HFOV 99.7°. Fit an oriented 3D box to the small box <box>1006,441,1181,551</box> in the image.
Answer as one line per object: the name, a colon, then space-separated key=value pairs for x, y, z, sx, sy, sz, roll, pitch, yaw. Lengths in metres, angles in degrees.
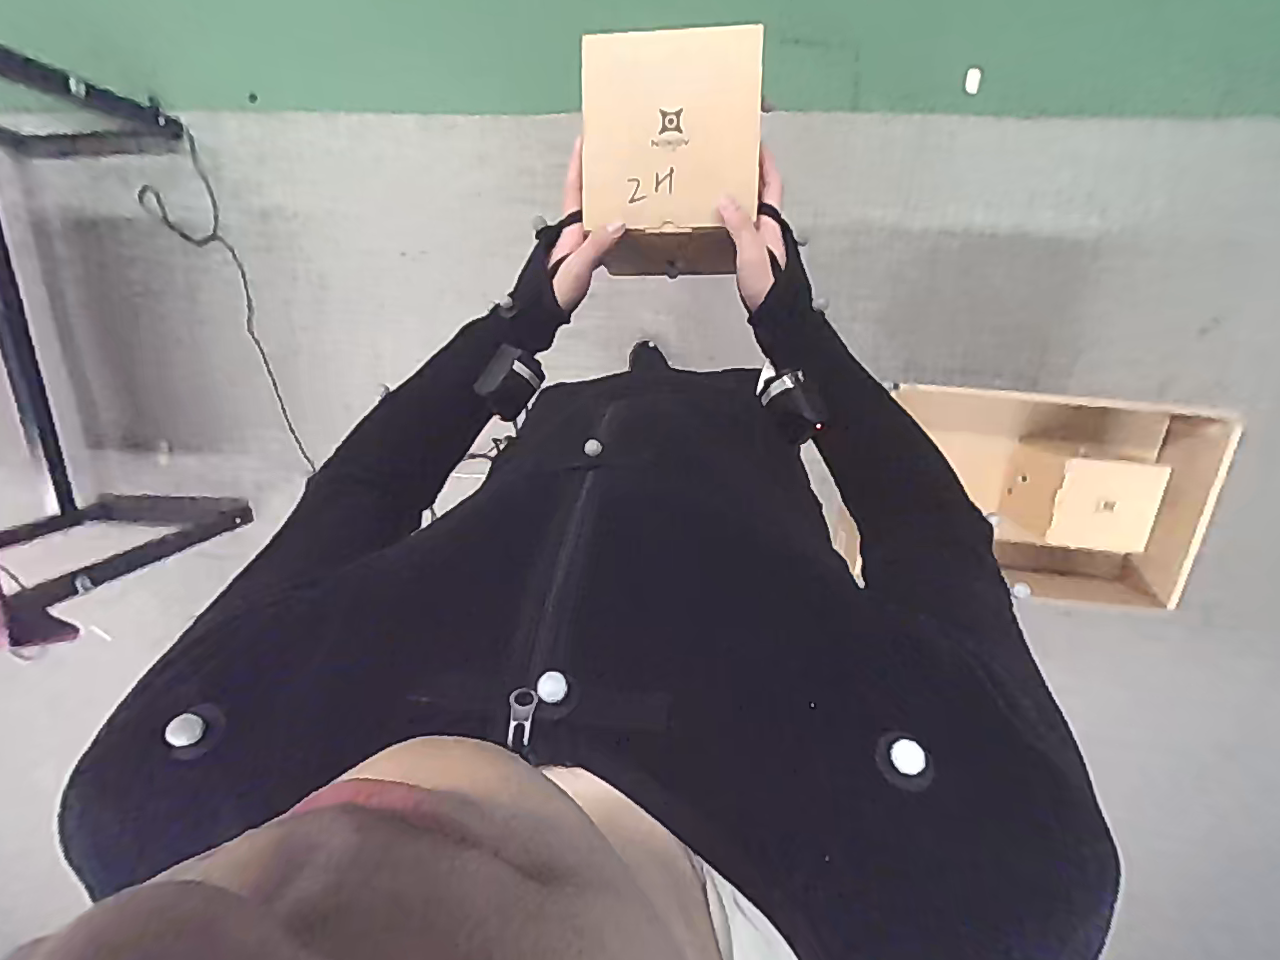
small box: x=0.861 y=0.024 z=1.047 sx=0.179 sy=0.176 sz=0.168 roll=5 pitch=106 yaw=6

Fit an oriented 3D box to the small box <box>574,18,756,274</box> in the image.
small box: x=0.029 y=-0.332 z=0.573 sx=0.168 sy=0.176 sz=0.179 roll=1 pitch=97 yaw=7
